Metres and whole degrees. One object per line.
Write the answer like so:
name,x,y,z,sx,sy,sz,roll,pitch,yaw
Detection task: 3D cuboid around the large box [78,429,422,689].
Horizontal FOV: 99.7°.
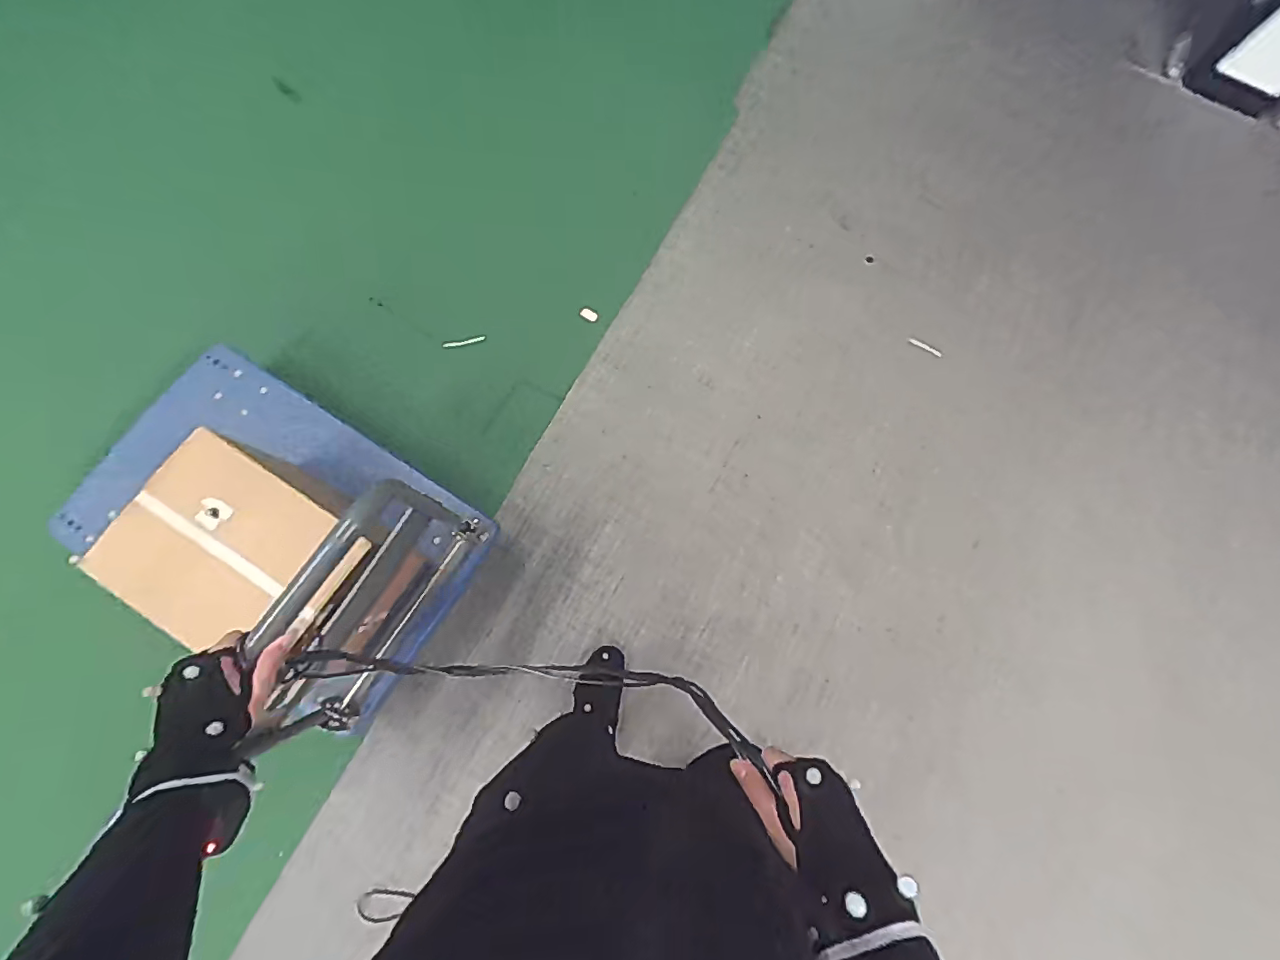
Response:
large box,-0.745,0.162,1.106,0.408,0.320,0.320,33,78,4
